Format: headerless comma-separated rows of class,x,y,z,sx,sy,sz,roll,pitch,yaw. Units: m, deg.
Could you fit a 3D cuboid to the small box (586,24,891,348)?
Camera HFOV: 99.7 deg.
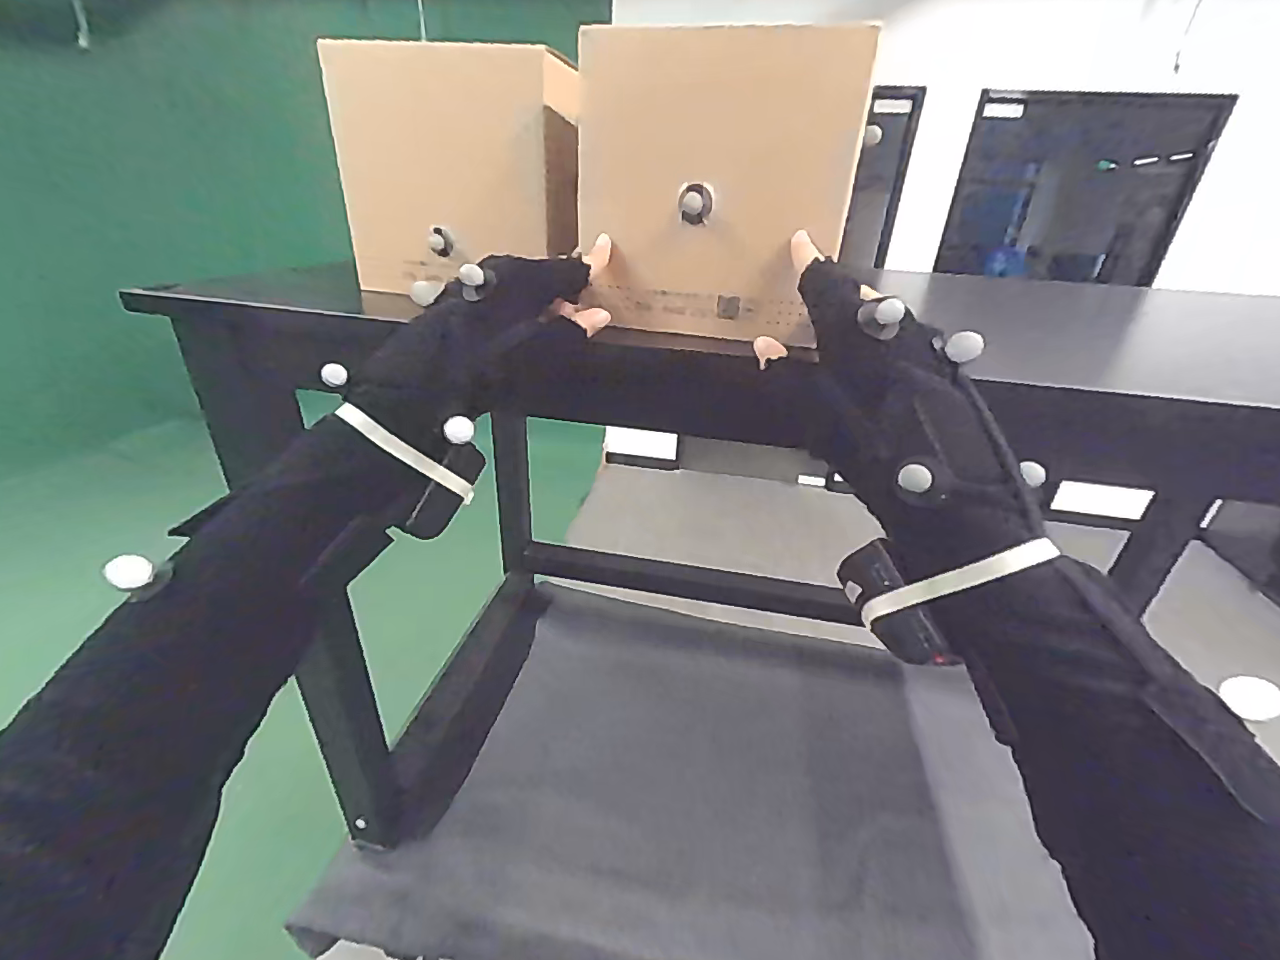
small box,0.067,-0.202,0.395,0.168,0.176,0.179,11,28,12
